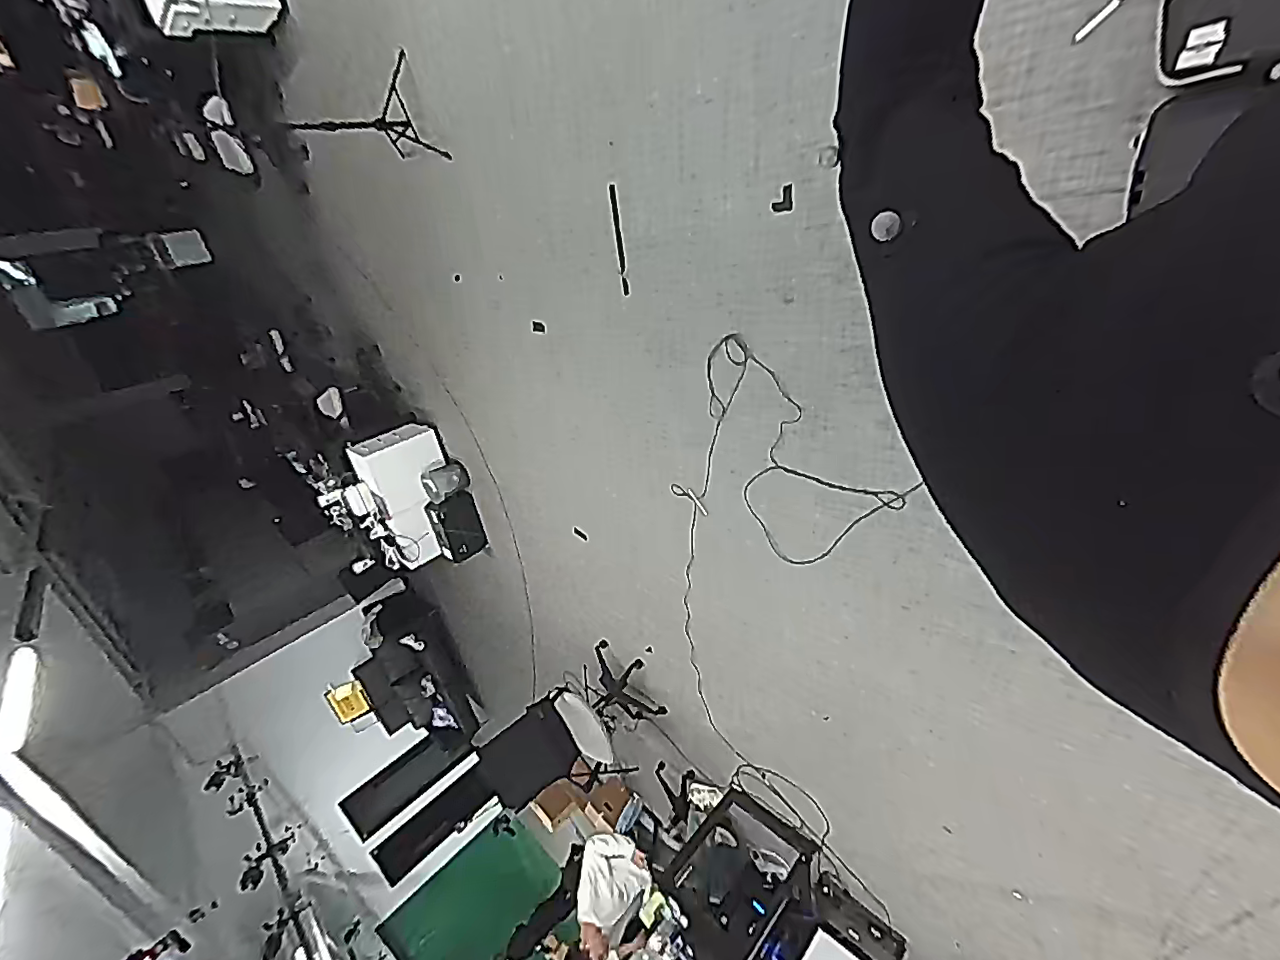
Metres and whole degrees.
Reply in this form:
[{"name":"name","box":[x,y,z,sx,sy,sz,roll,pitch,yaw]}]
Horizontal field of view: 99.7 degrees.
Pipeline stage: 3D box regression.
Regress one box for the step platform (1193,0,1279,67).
[{"name":"step platform","box":[1.140,-0.761,0.633,0.684,0.204,0.286,14,125,44]}]
